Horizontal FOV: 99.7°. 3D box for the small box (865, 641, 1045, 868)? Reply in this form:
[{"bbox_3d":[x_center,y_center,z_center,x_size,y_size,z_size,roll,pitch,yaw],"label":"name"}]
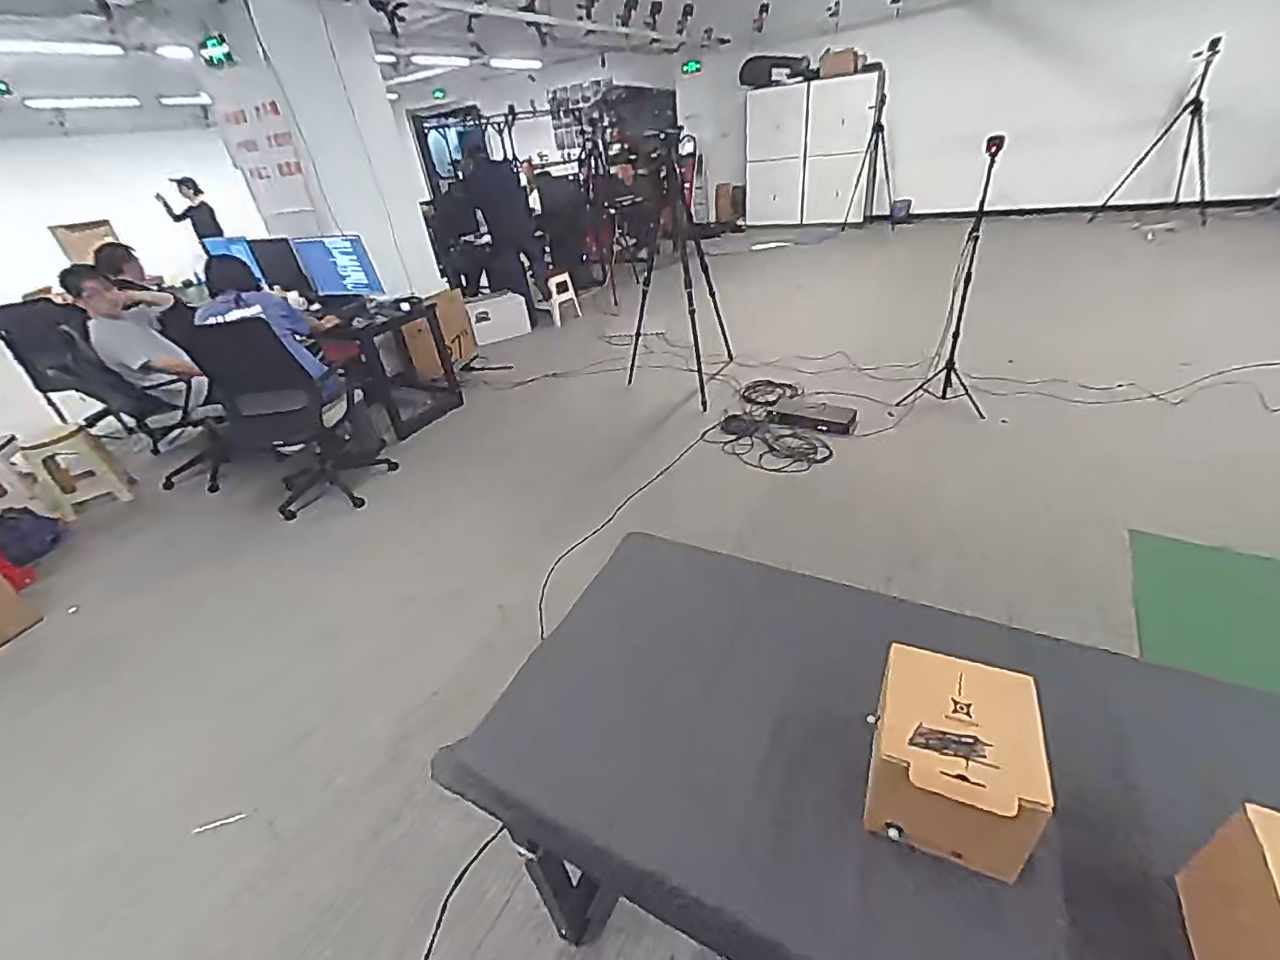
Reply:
[{"bbox_3d":[0.390,0.345,0.691,0.168,0.176,0.179,9,35,24],"label":"small box"}]
